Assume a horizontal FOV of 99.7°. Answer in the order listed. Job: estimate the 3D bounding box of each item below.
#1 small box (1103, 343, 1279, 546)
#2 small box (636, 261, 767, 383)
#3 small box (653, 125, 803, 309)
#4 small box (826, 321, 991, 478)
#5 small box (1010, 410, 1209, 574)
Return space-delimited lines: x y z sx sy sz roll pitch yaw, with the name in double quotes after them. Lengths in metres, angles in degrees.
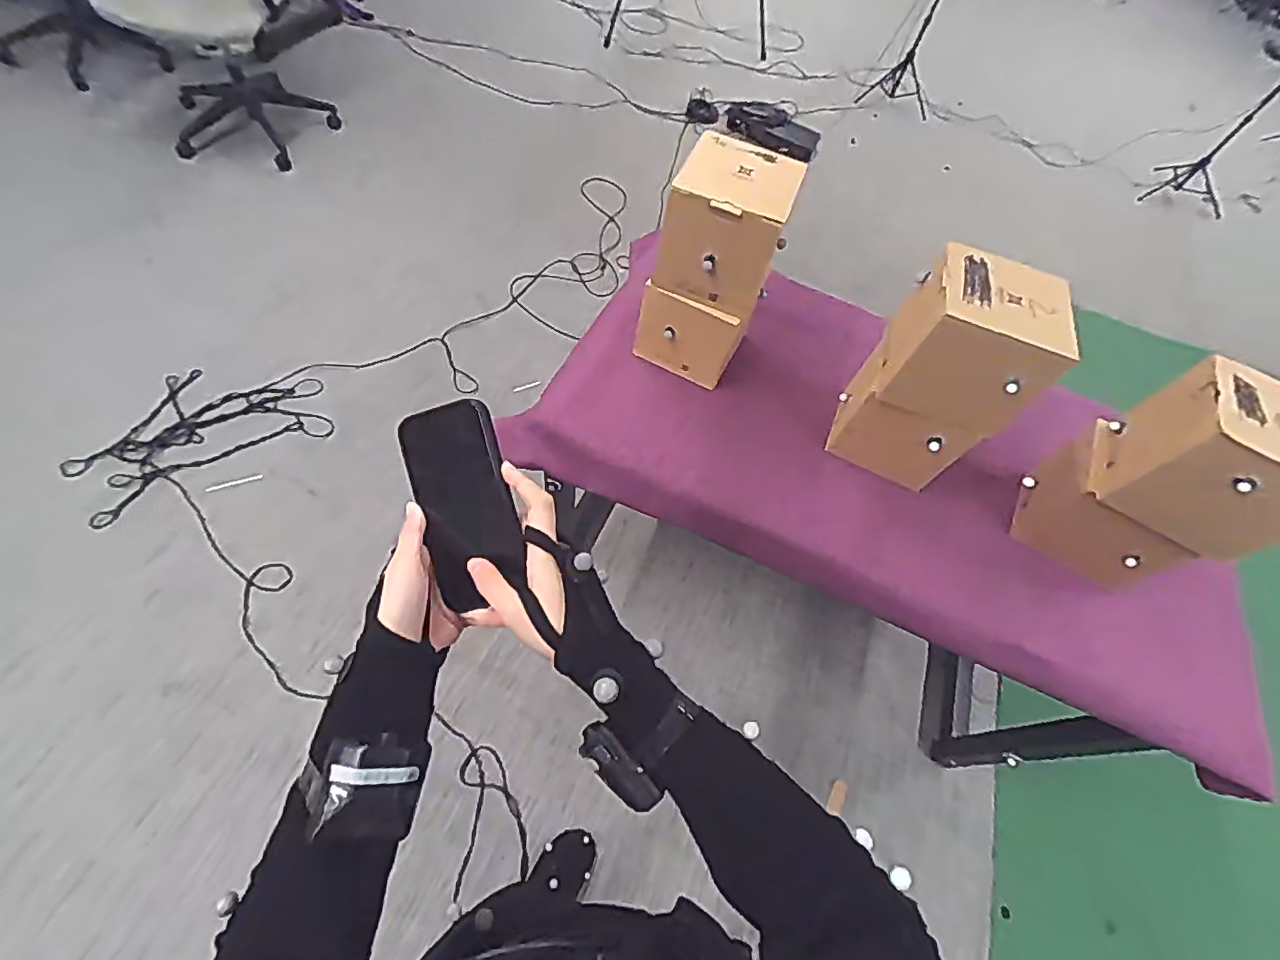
0.767 -0.040 0.716 0.179 0.176 0.168 31 59 9 "small box"
0.102 -0.306 0.967 0.168 0.176 0.179 26 59 7 "small box"
0.127 -0.397 0.832 0.168 0.176 0.179 22 59 4 "small box"
0.445 -0.126 0.910 0.179 0.176 0.168 25 59 7 "small box"
0.744 0.028 0.864 0.179 0.176 0.168 31 59 10 "small box"
